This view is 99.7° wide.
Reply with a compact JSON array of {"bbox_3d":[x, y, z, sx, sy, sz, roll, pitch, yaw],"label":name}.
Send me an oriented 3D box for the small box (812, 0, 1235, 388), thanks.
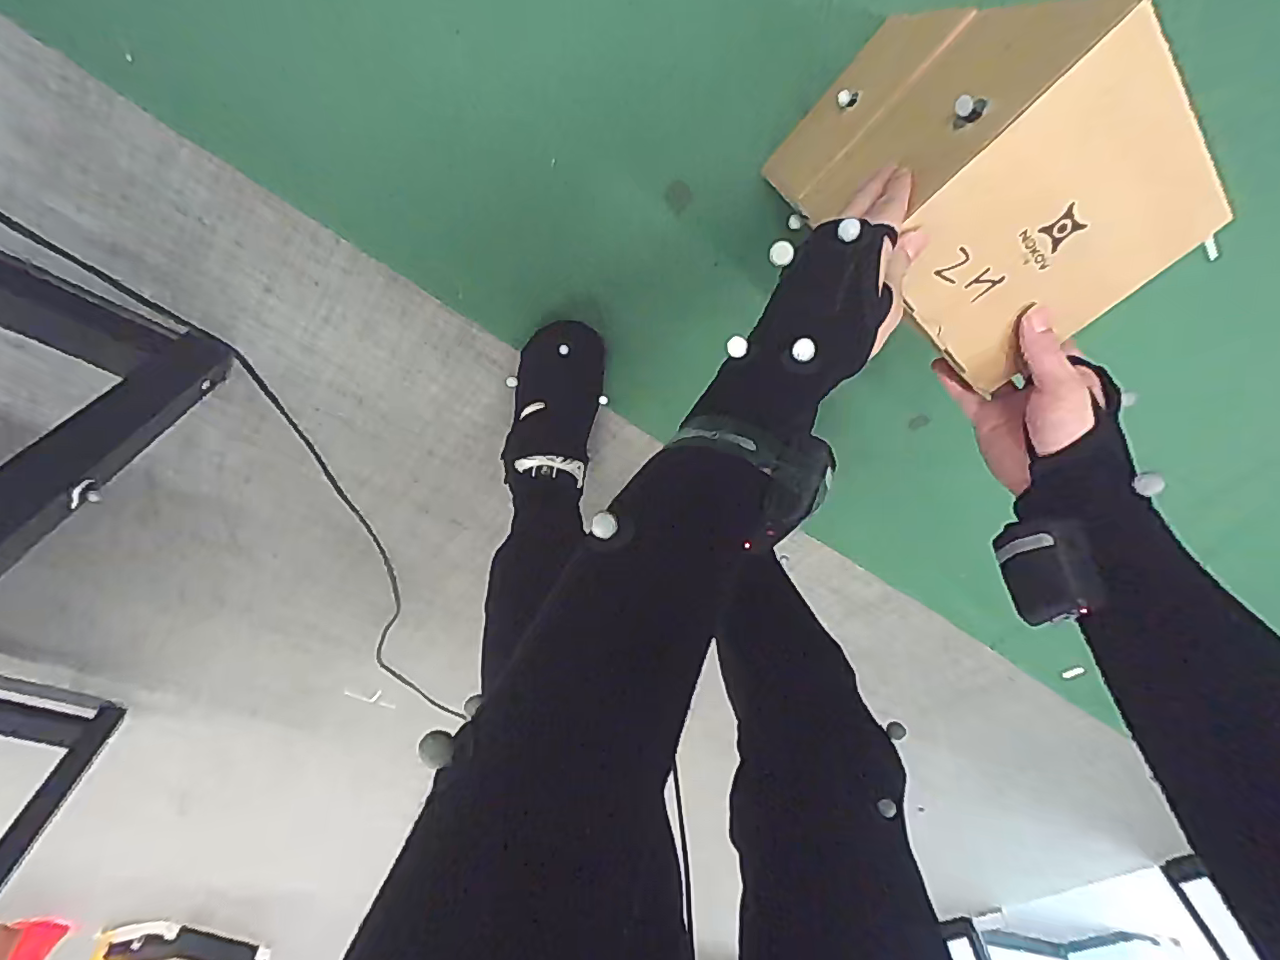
[{"bbox_3d":[0.264,-0.212,0.412,0.168,0.176,0.179,35,120,-26],"label":"small box"}]
